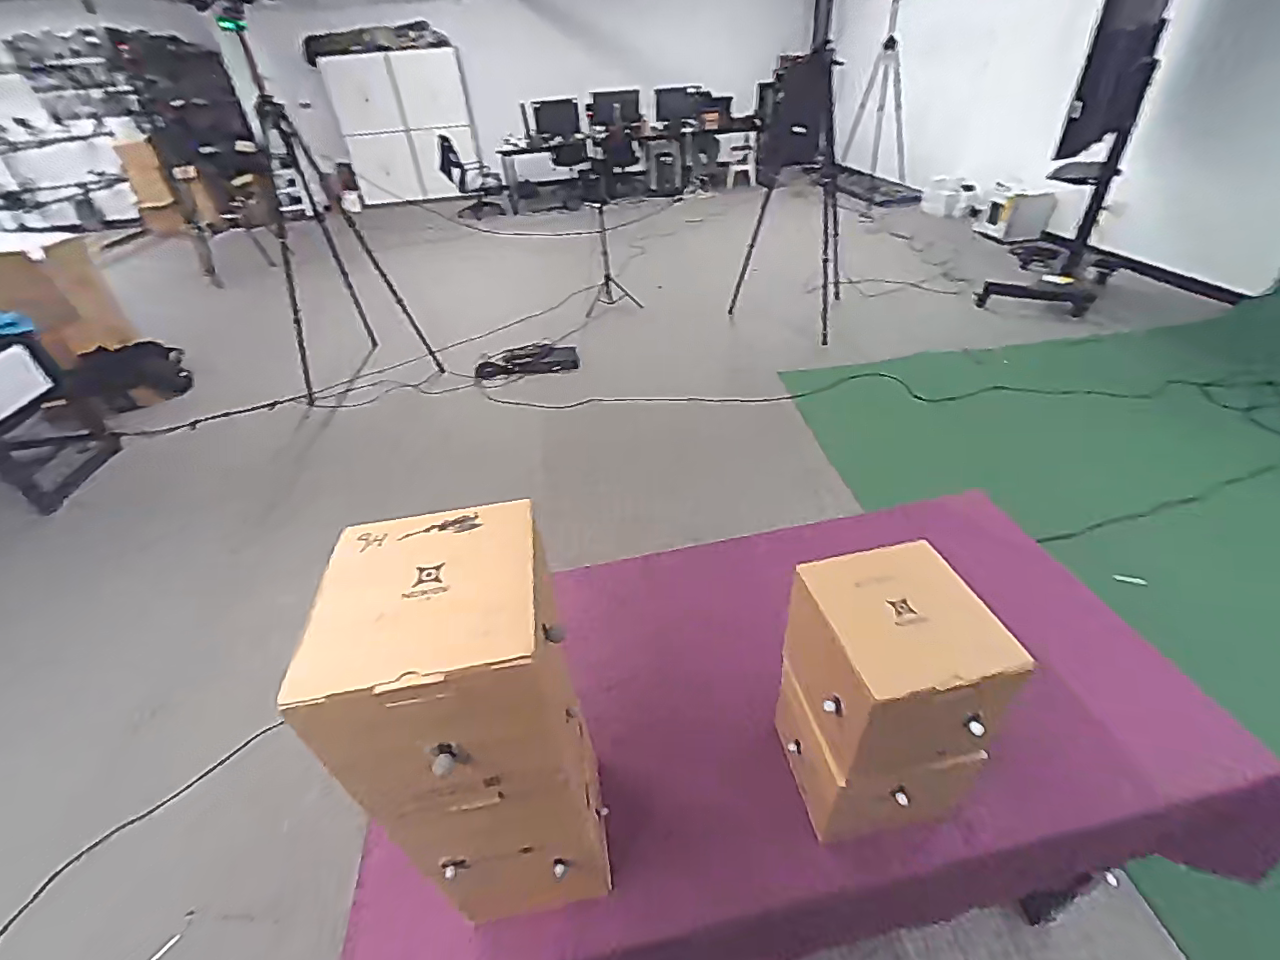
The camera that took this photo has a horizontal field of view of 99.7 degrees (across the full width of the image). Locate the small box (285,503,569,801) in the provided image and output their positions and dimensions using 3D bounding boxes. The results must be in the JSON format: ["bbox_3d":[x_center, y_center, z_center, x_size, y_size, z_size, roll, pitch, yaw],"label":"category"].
[{"bbox_3d":[-0.157,0.148,0.465,0.168,0.176,0.179,-8,38,-6],"label":"small box"}]

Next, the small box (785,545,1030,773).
[{"bbox_3d":[0.278,0.204,0.611,0.168,0.176,0.179,-9,37,-6],"label":"small box"}]

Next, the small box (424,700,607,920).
[{"bbox_3d":[-0.143,0.406,0.668,0.179,0.176,0.168,-9,38,-6],"label":"small box"}]

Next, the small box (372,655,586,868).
[{"bbox_3d":[-0.153,0.275,0.570,0.168,0.176,0.179,-9,36,-7],"label":"small box"}]

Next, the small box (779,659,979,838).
[{"bbox_3d":[0.290,0.337,0.706,0.179,0.176,0.168,-8,38,-4],"label":"small box"}]
